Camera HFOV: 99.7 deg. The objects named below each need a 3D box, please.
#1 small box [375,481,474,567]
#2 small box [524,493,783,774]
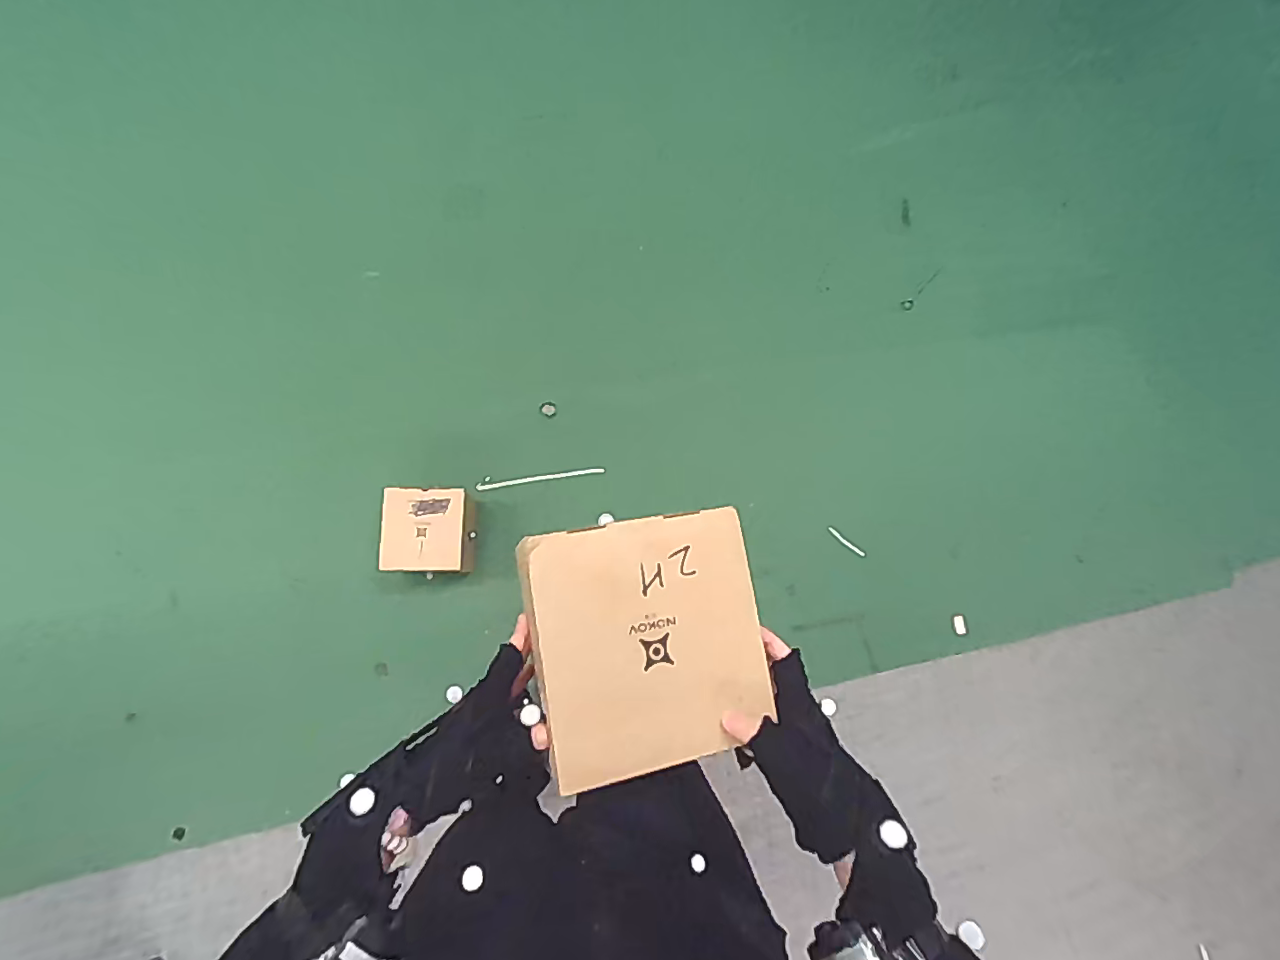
[{"bbox_3d":[-0.470,0.104,1.204,0.168,0.176,0.179,2,80,-8],"label":"small box"},{"bbox_3d":[-0.004,0.115,0.462,0.168,0.176,0.179,-6,81,-17],"label":"small box"}]
